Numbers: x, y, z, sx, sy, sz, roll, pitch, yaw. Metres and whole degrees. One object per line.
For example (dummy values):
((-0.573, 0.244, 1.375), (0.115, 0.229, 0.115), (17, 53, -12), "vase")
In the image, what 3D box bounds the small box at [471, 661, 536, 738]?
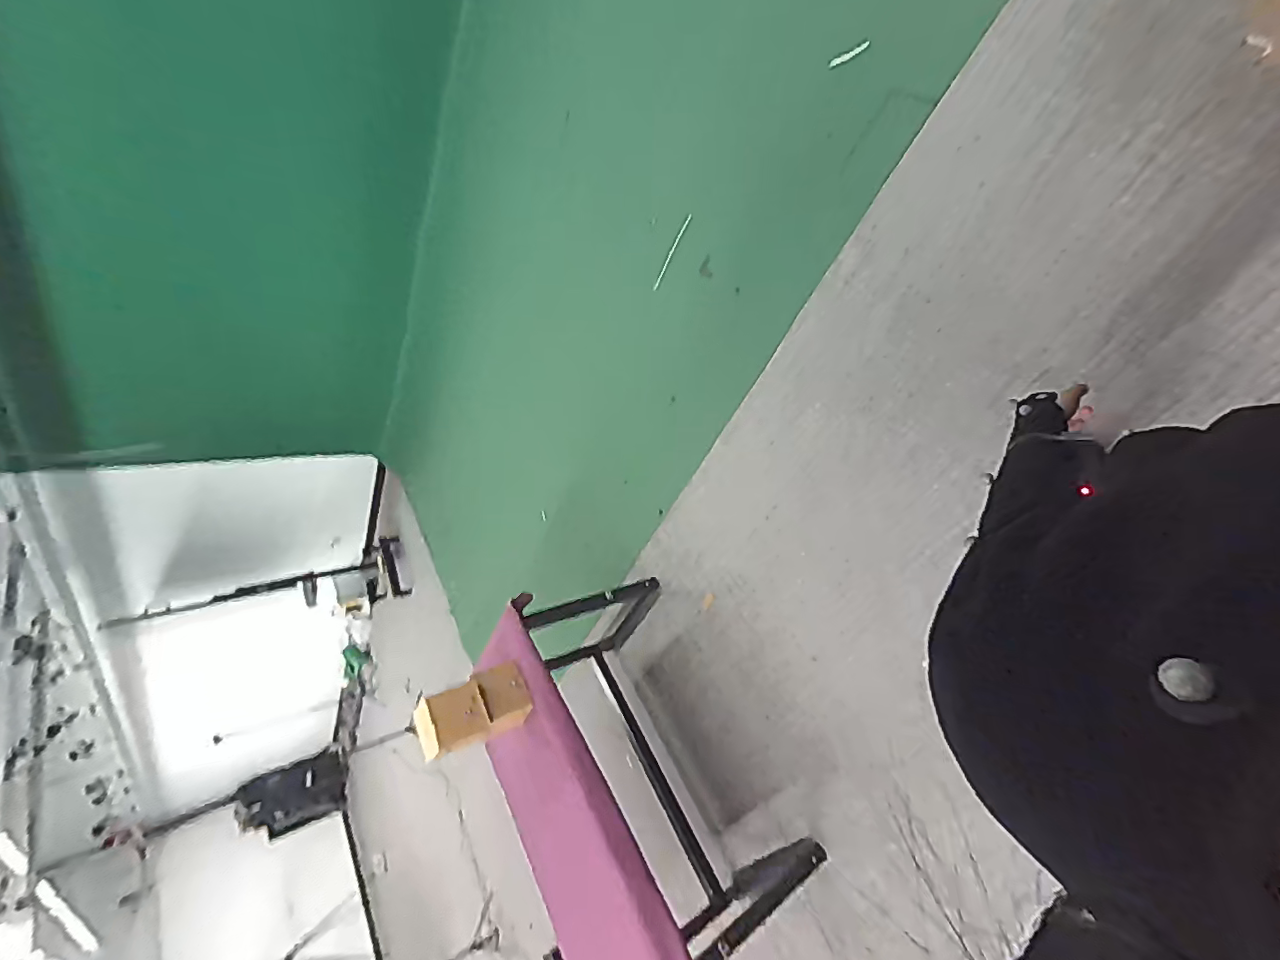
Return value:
((-0.480, 0.740, 1.849), (0.179, 0.176, 0.168), (56, 135, 30), "small box")

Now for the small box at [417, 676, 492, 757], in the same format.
((-0.591, 0.752, 1.727), (0.179, 0.176, 0.168), (-51, 58, 41), "small box")
